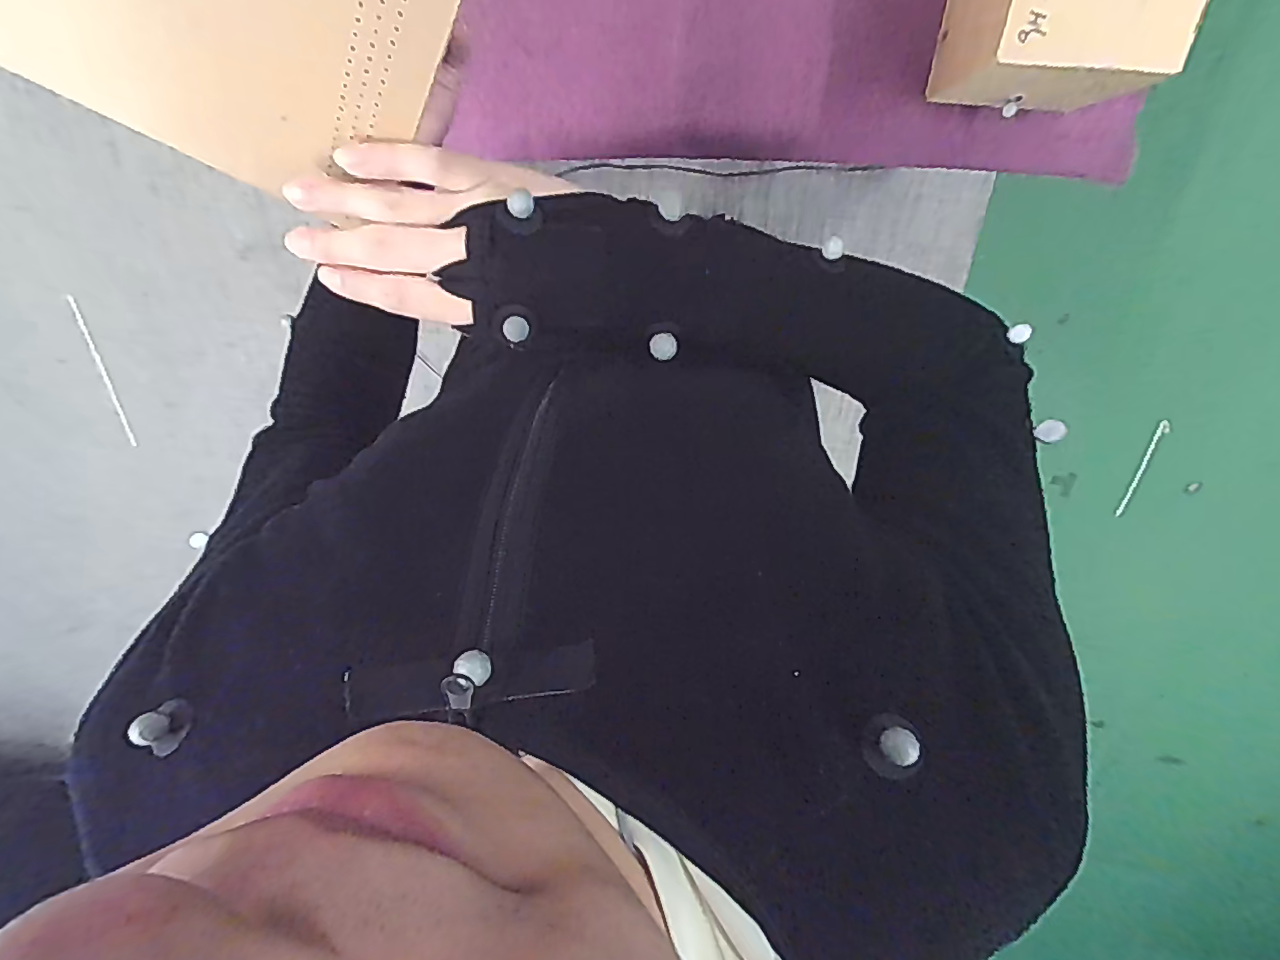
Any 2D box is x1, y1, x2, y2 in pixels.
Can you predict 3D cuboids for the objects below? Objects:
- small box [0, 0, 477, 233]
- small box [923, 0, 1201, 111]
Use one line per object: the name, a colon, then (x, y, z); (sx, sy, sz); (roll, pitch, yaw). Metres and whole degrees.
small box: (-0.159, -0.257, 0.242); (0.176, 0.168, 0.179); (19, 157, -31)
small box: (0.433, -0.498, 0.557); (0.179, 0.176, 0.168); (5, 114, 1)
